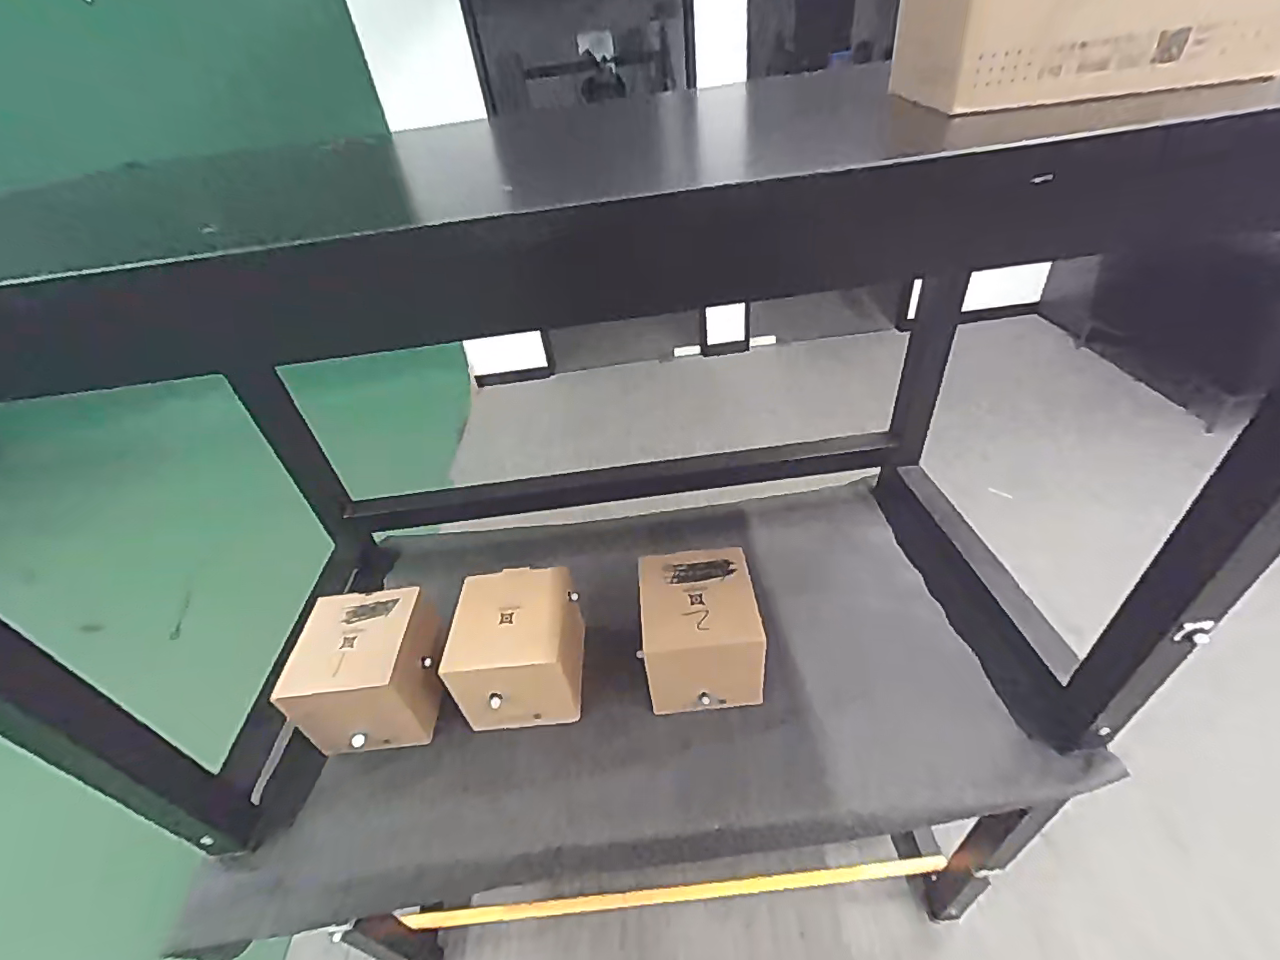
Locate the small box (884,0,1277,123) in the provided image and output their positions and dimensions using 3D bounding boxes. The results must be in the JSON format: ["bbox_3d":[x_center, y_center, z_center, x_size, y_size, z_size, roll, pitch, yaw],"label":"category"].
[{"bbox_3d":[0.264,-0.331,0.333,0.168,0.176,0.179,0,38,10],"label":"small box"}]

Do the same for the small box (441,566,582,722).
[{"bbox_3d":[-0.187,0.262,0.850,0.168,0.176,0.179,-6,38,2],"label":"small box"}]

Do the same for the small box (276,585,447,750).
[{"bbox_3d":[-0.413,0.292,0.846,0.168,0.176,0.179,-7,38,1],"label":"small box"}]
